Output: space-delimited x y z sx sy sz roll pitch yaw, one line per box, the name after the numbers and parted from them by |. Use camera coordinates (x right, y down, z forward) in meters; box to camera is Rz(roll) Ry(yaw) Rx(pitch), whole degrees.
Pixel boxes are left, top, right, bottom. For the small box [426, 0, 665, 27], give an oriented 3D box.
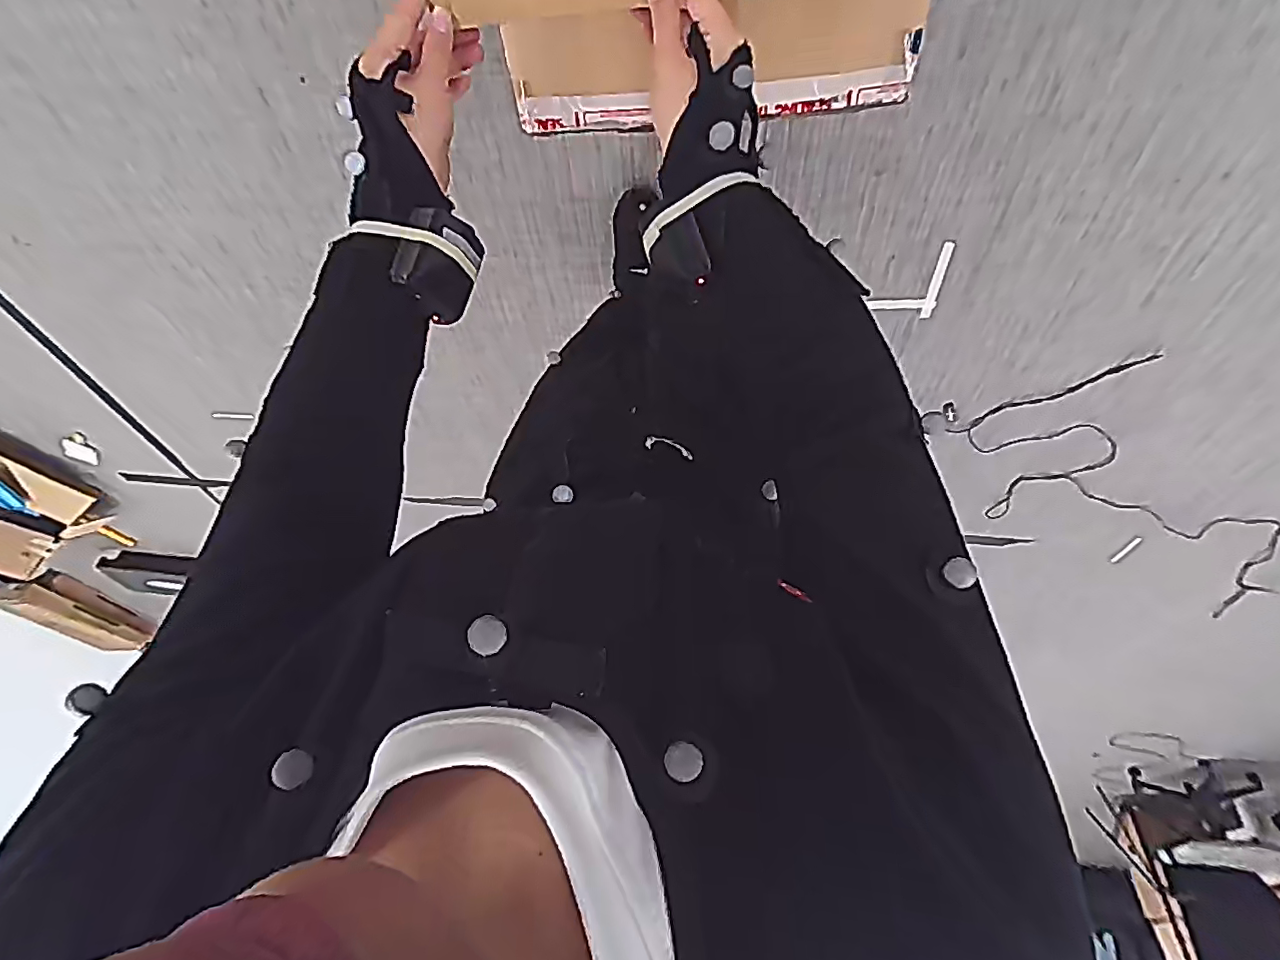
-0.063 -0.431 0.348 0.168 0.176 0.179 1 143 9 | small box
